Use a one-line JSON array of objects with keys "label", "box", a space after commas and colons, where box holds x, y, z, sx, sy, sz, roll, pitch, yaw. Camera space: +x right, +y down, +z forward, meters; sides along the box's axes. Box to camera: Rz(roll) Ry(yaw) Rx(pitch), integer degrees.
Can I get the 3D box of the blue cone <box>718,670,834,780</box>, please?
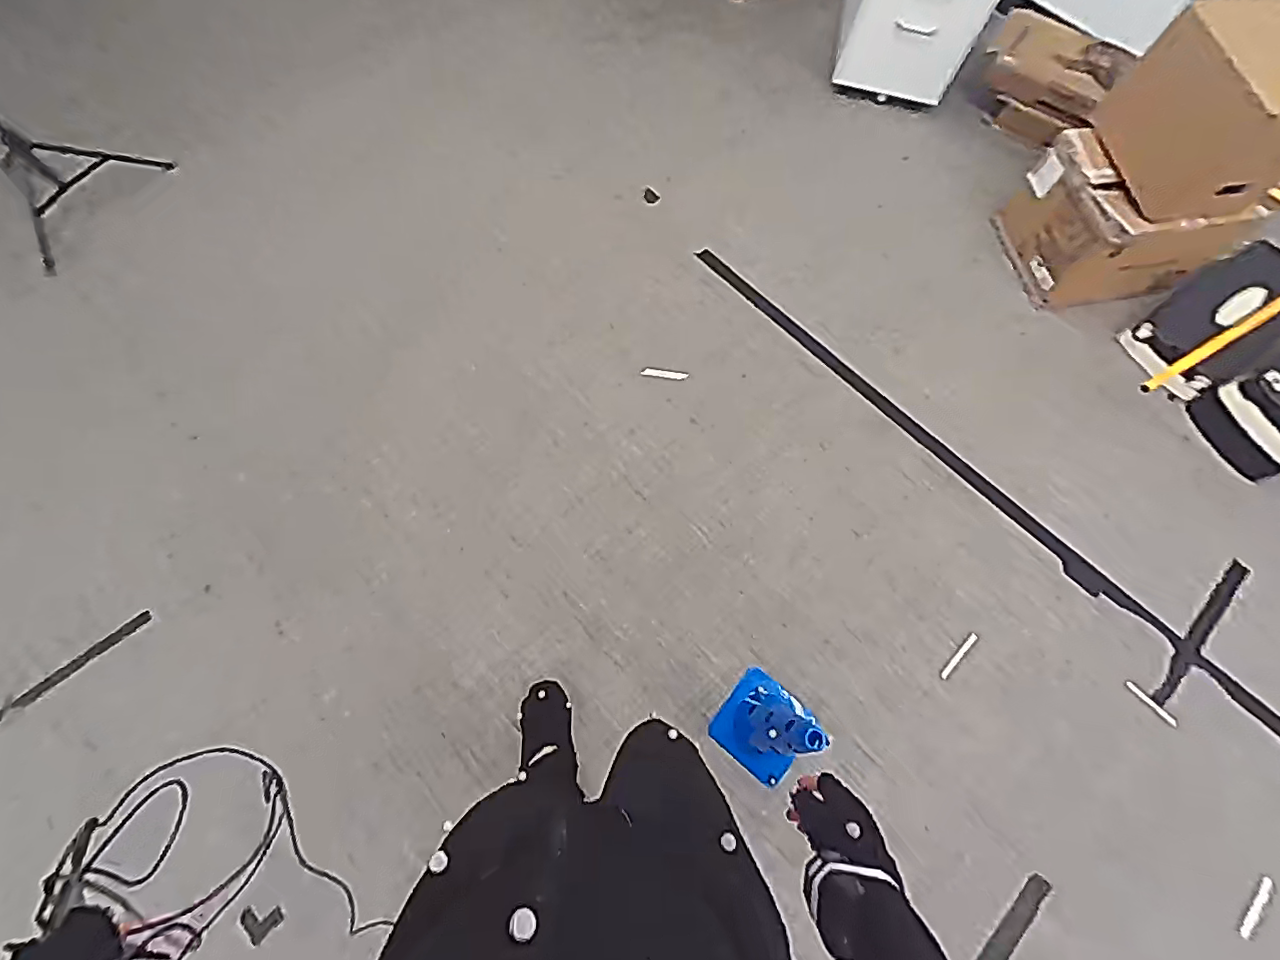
[{"label": "blue cone", "box": [0.306, 0.519, 1.127, 0.192, 0.380, 0.193, 40, 73, 10]}]
